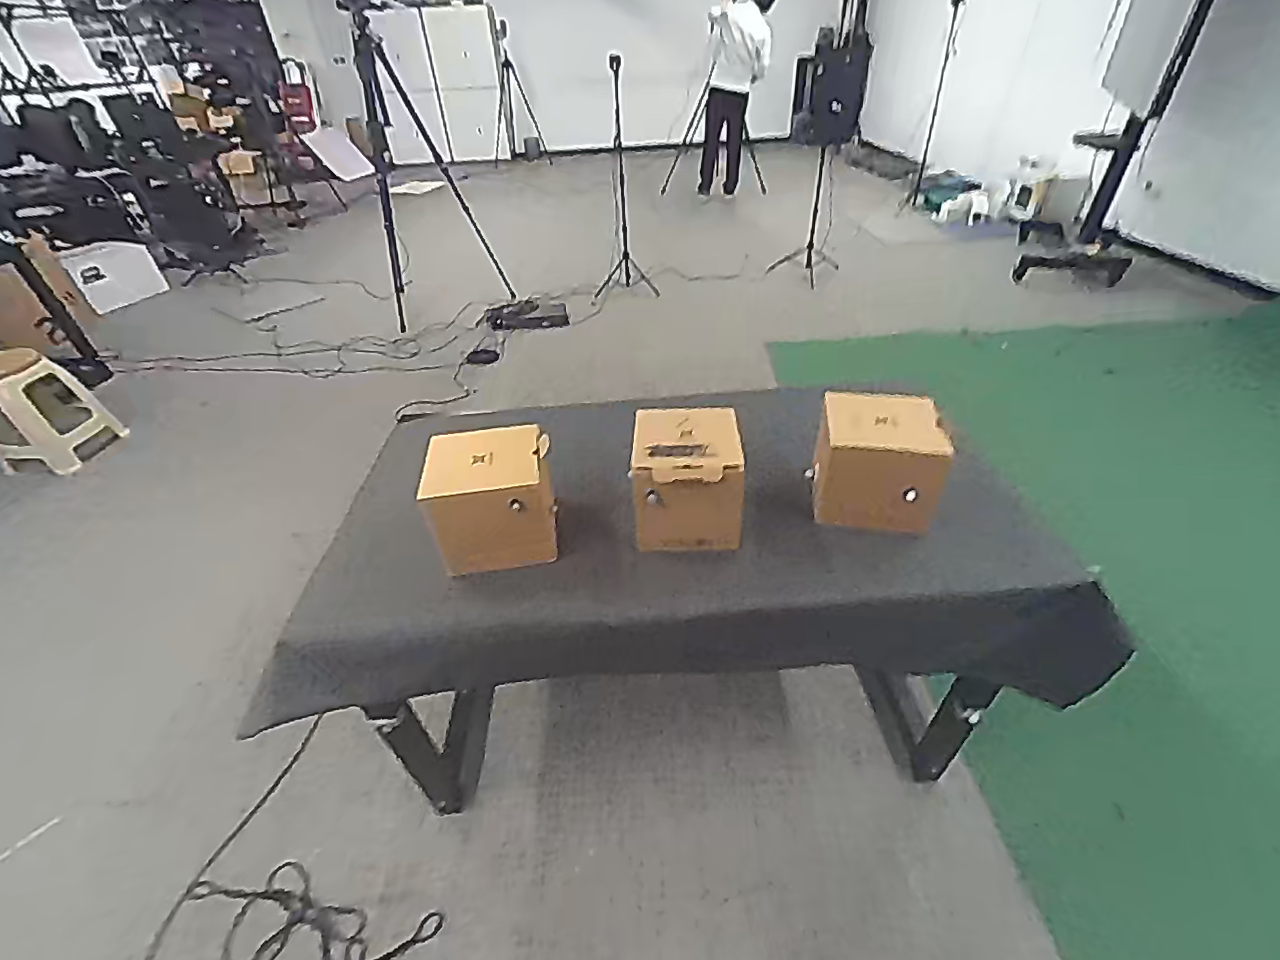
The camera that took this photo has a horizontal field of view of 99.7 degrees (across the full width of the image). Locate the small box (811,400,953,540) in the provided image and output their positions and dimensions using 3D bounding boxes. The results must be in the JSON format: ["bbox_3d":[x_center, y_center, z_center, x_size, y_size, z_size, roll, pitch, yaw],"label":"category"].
[{"bbox_3d":[0.394,-0.017,0.914,0.179,0.176,0.168,5,38,11],"label":"small box"}]

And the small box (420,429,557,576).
[{"bbox_3d":[-0.236,0.038,0.882,0.179,0.176,0.168,-7,38,-7],"label":"small box"}]
